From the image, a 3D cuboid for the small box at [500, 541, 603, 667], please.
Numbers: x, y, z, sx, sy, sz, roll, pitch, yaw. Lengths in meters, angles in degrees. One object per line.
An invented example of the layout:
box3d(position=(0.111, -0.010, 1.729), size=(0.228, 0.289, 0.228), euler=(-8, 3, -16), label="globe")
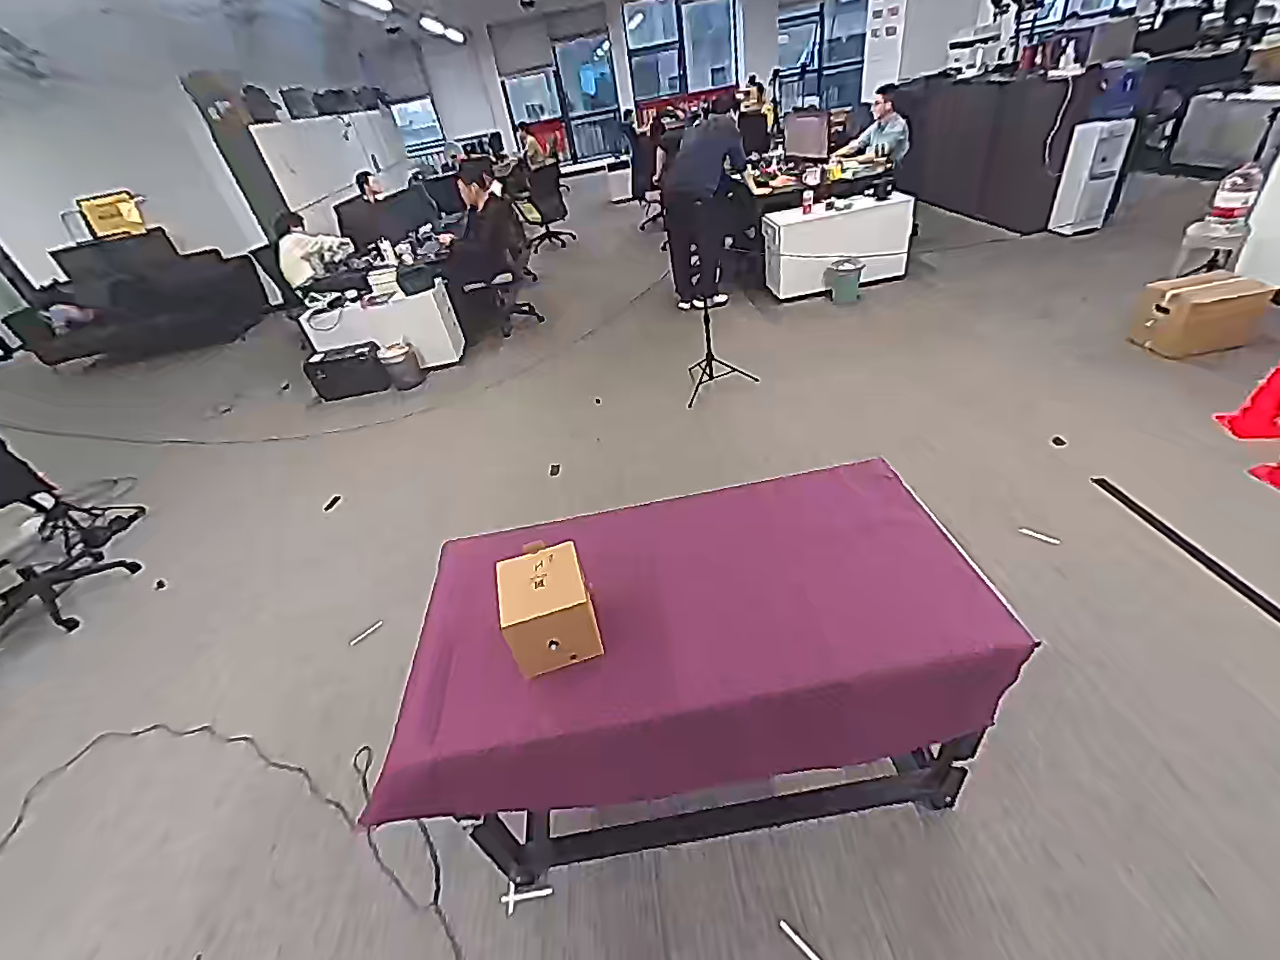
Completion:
box3d(position=(-0.181, 0.260, 1.110), size=(0.168, 0.176, 0.179), euler=(-15, 37, -6), label="small box")
